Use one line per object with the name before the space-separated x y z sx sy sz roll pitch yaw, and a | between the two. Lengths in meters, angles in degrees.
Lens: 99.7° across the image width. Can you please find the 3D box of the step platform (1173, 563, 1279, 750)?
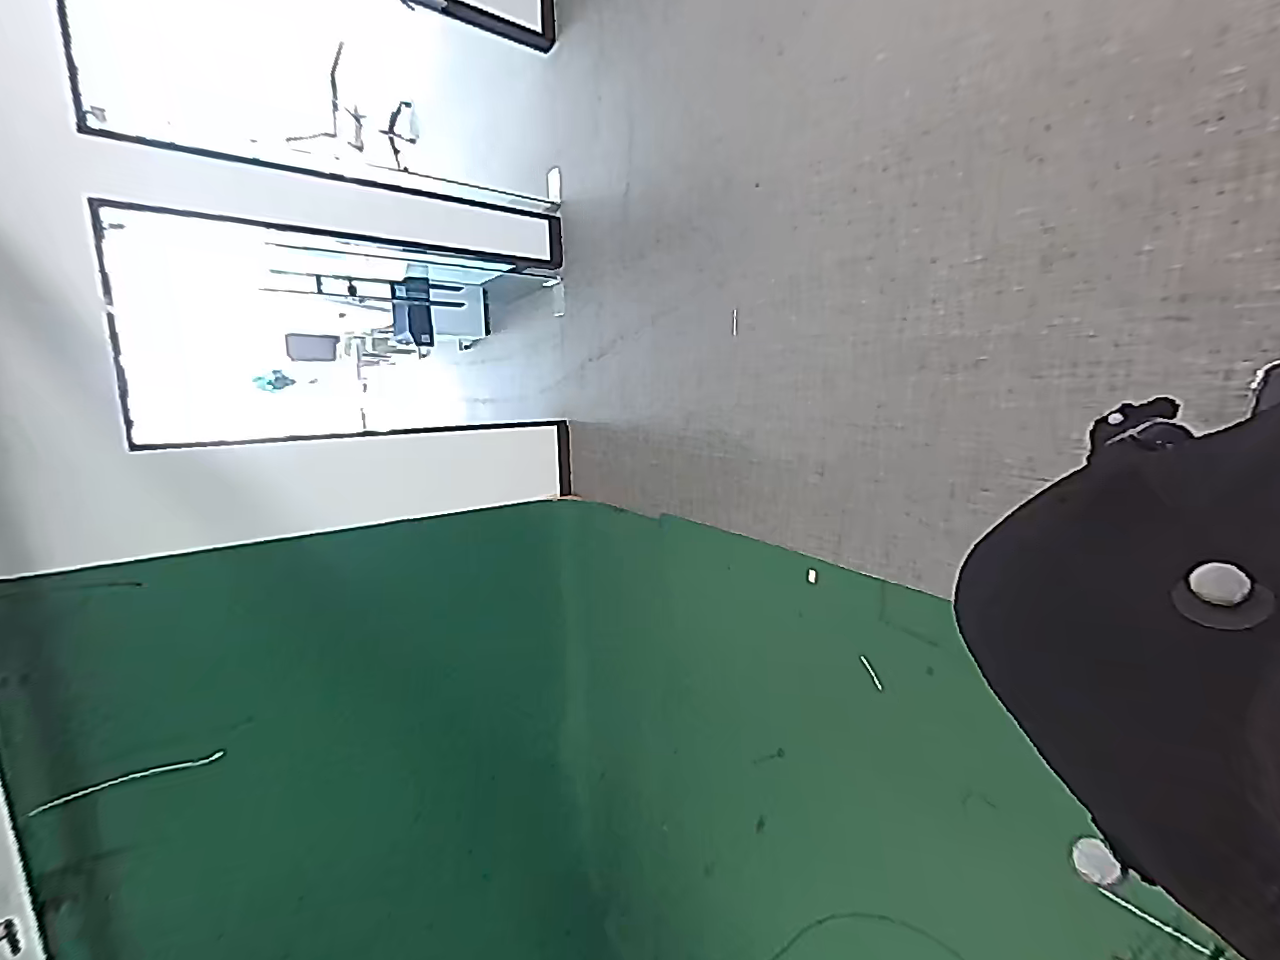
step platform | 1.192 0.324 0.706 0.684 0.204 0.286 12 105 52
